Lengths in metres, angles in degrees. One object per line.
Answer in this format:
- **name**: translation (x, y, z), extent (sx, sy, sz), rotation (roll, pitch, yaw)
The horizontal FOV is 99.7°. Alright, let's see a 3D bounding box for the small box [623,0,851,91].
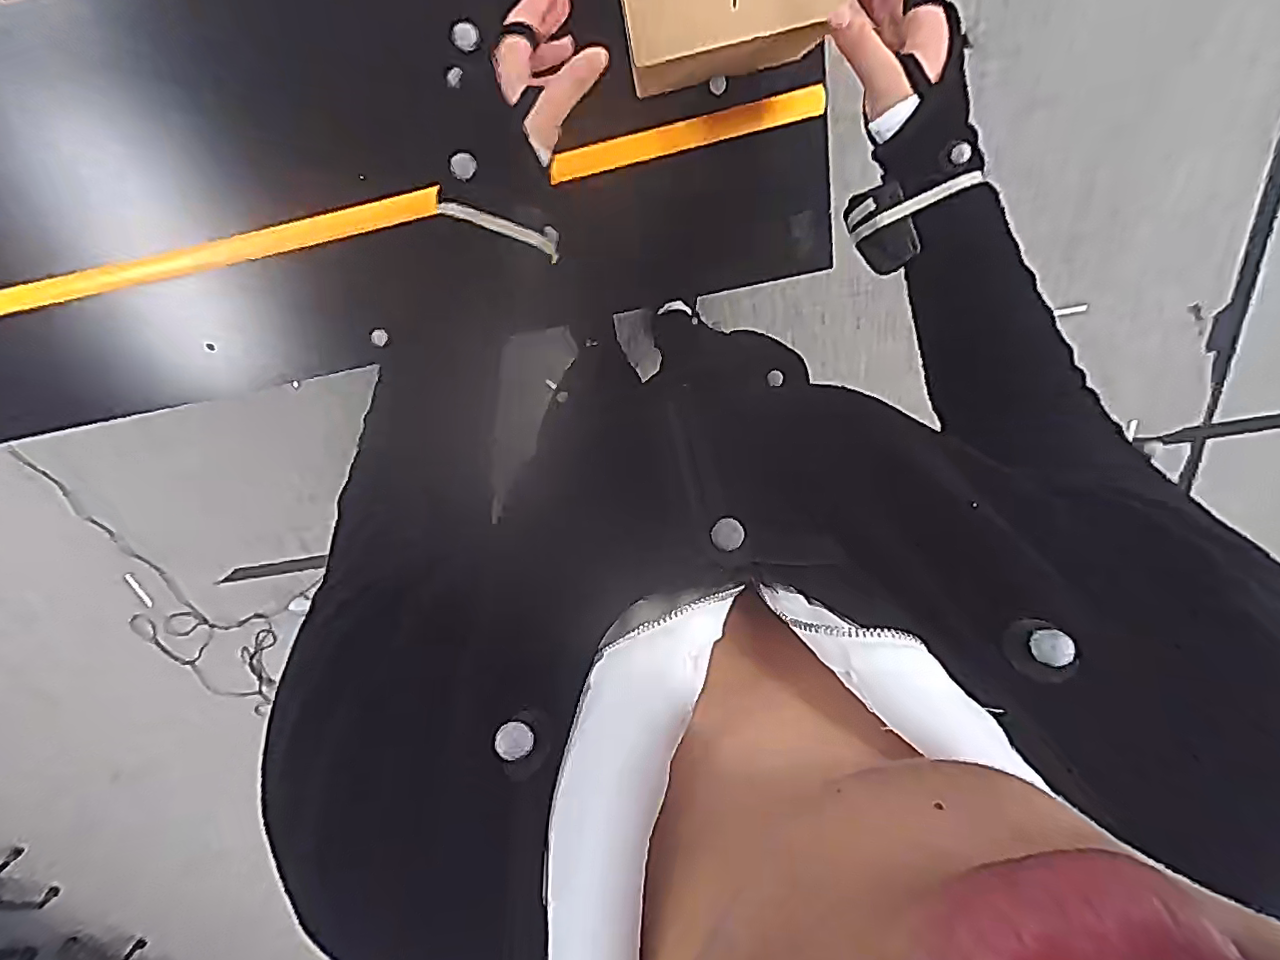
- **small box**: translation (0.063, -0.447, 0.439), extent (0.168, 0.176, 0.179), rotation (-9, 119, 6)
